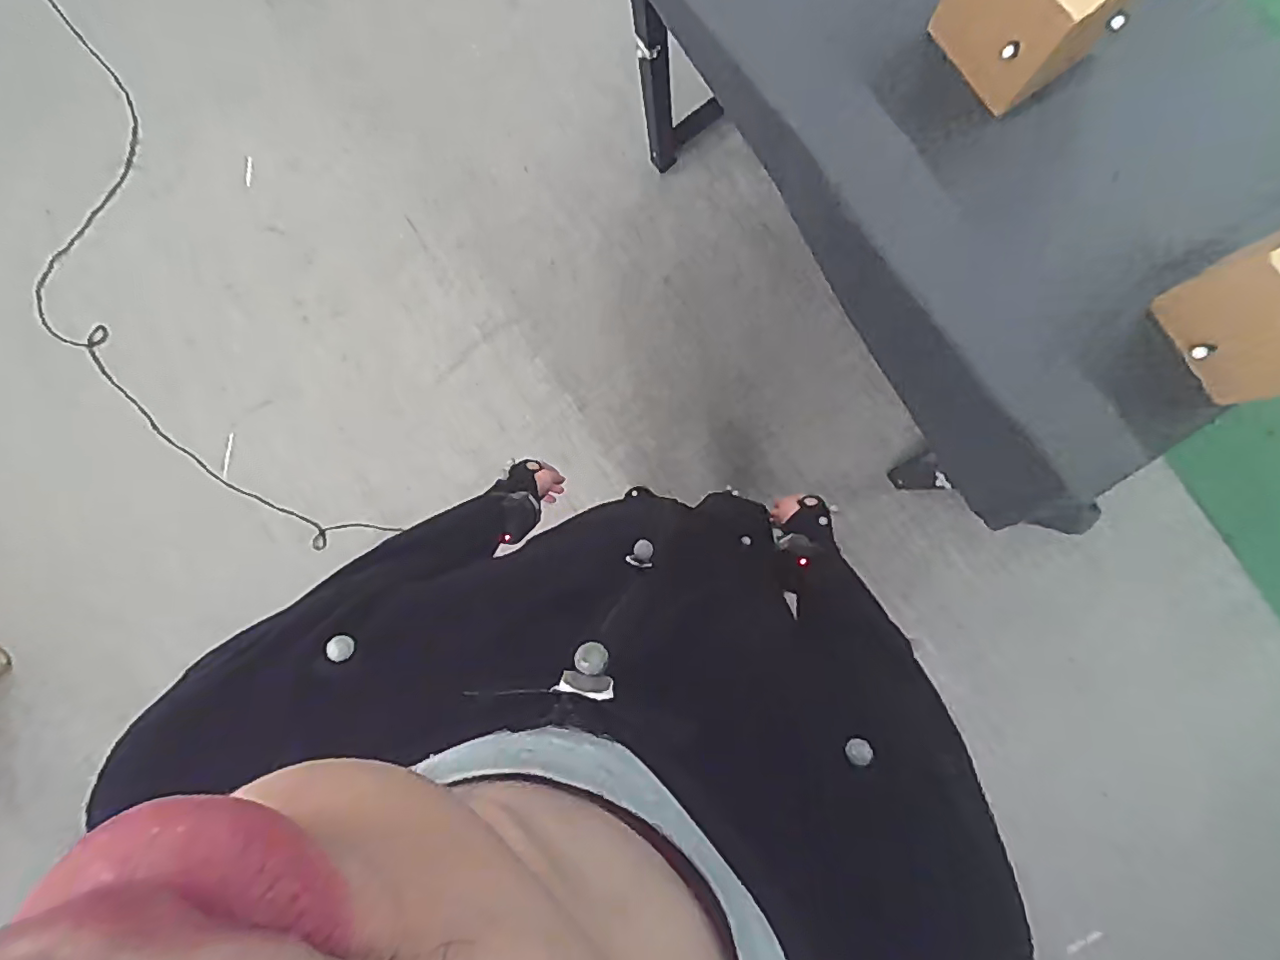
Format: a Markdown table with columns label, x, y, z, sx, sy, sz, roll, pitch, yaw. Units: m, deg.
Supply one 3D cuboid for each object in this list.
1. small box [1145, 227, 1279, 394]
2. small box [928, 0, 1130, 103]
| label | x | y | z | sx | sy | sz | roll | pitch | yaw |
| --- | --- | --- | --- | --- | --- | --- | --- | --- | --- |
| small box | 0.826 | -0.224 | 0.690 | 0.168 | 0.176 | 0.179 | -31 | 88 | 4 |
| small box | 0.530 | -0.649 | 0.714 | 0.168 | 0.176 | 0.179 | -36 | 87 | 2 |
